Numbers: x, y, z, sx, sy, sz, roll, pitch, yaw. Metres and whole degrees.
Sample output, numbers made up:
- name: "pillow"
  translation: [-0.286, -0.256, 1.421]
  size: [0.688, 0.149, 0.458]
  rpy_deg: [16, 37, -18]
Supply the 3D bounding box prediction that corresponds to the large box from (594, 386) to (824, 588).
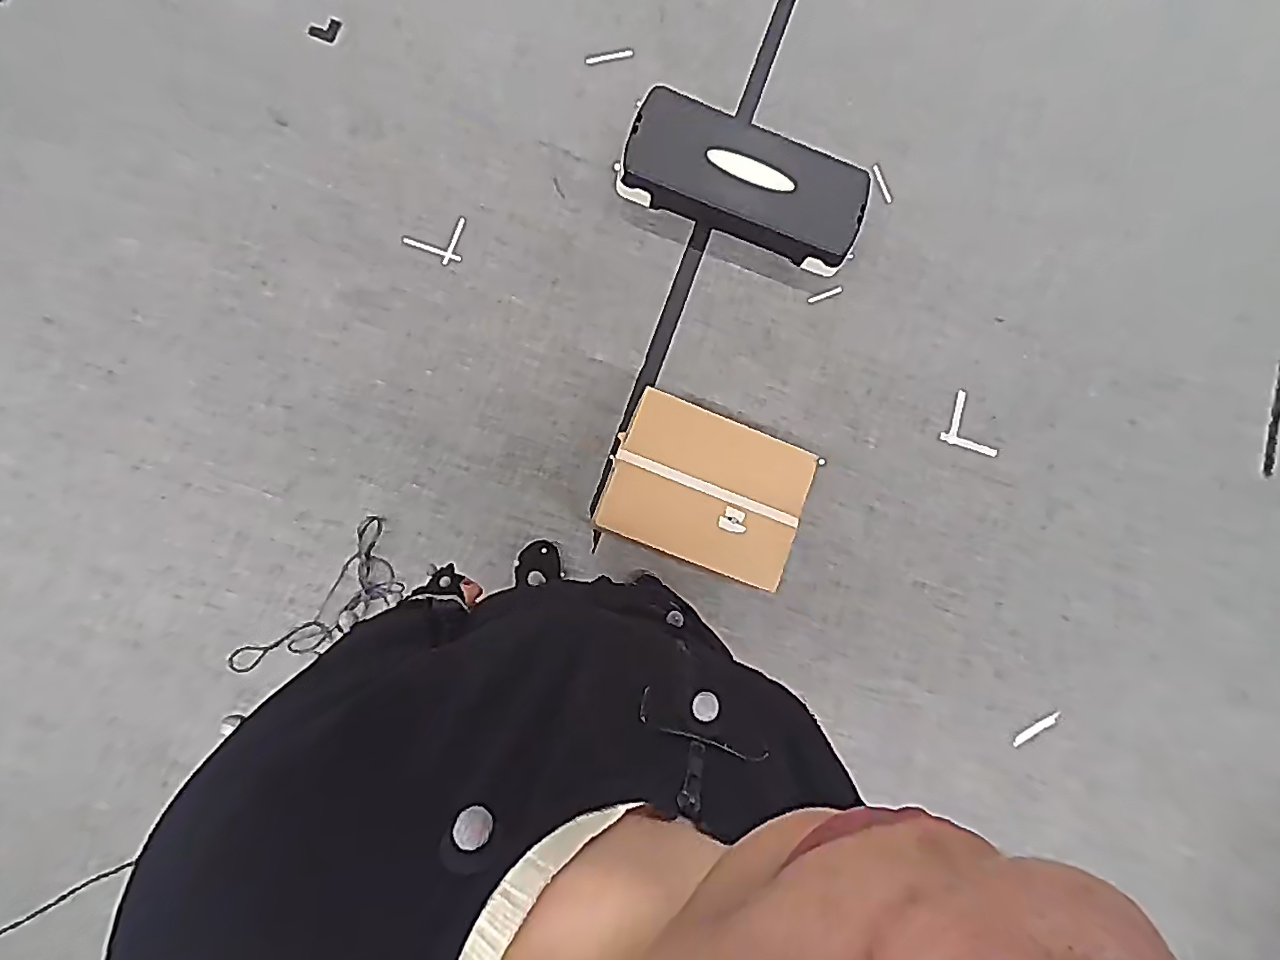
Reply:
- name: "large box"
  translation: [0.135, 0.028, 1.252]
  size: [0.408, 0.320, 0.320]
  rpy_deg: [21, 83, -5]
